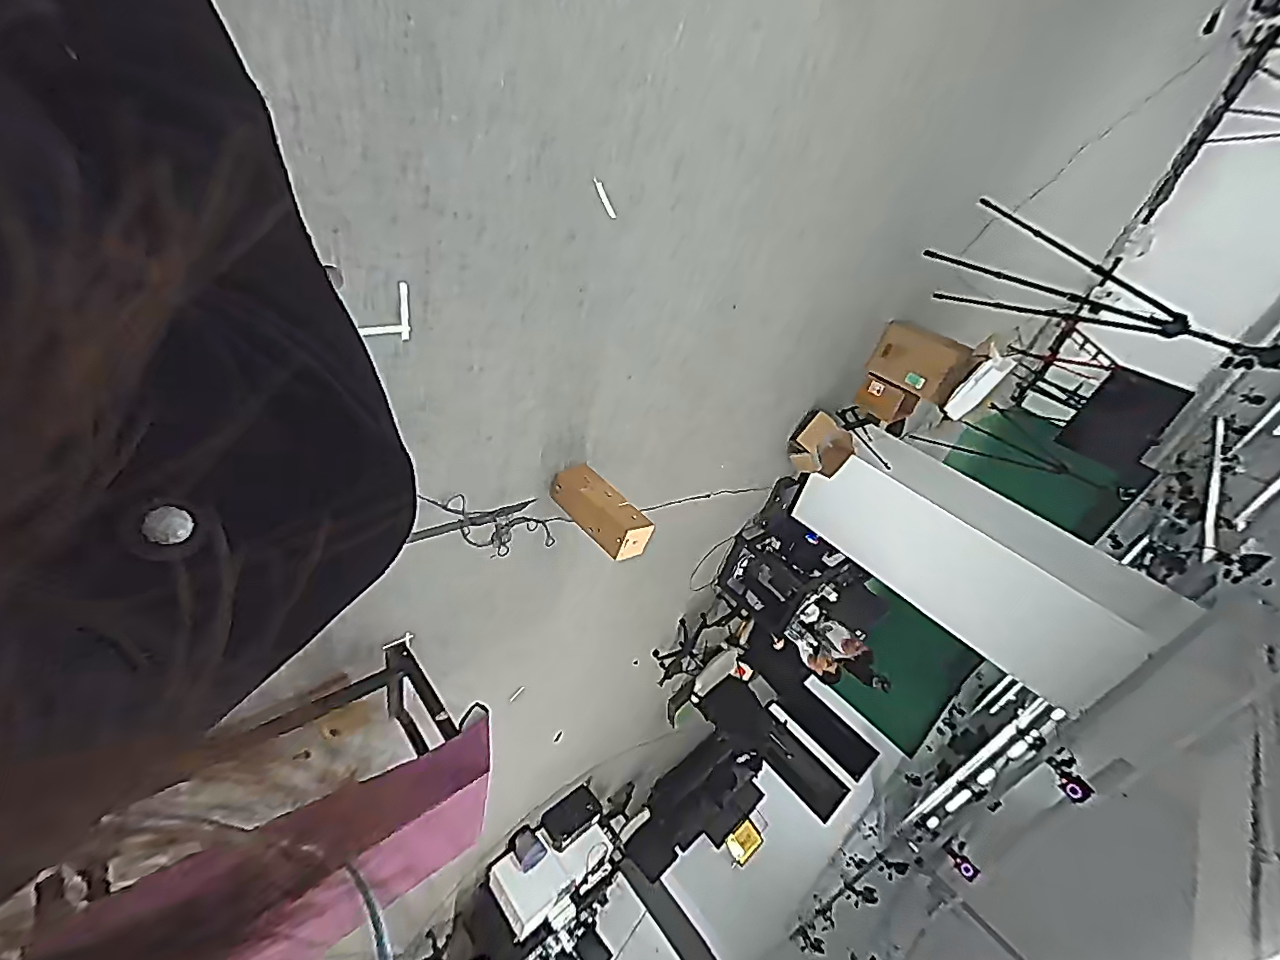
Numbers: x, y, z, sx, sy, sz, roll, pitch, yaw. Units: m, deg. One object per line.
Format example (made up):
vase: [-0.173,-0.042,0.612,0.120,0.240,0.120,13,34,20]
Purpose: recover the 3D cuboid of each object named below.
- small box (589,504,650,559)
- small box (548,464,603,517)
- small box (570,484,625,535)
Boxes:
small box: [-0.092,0.219,2.379,0.179,0.176,0.168,-9,129,-49]
small box: [-0.306,0.044,2.552,0.179,0.176,0.168,-17,135,-42]
small box: [-0.200,0.132,2.467,0.168,0.176,0.179,-16,134,-43]
